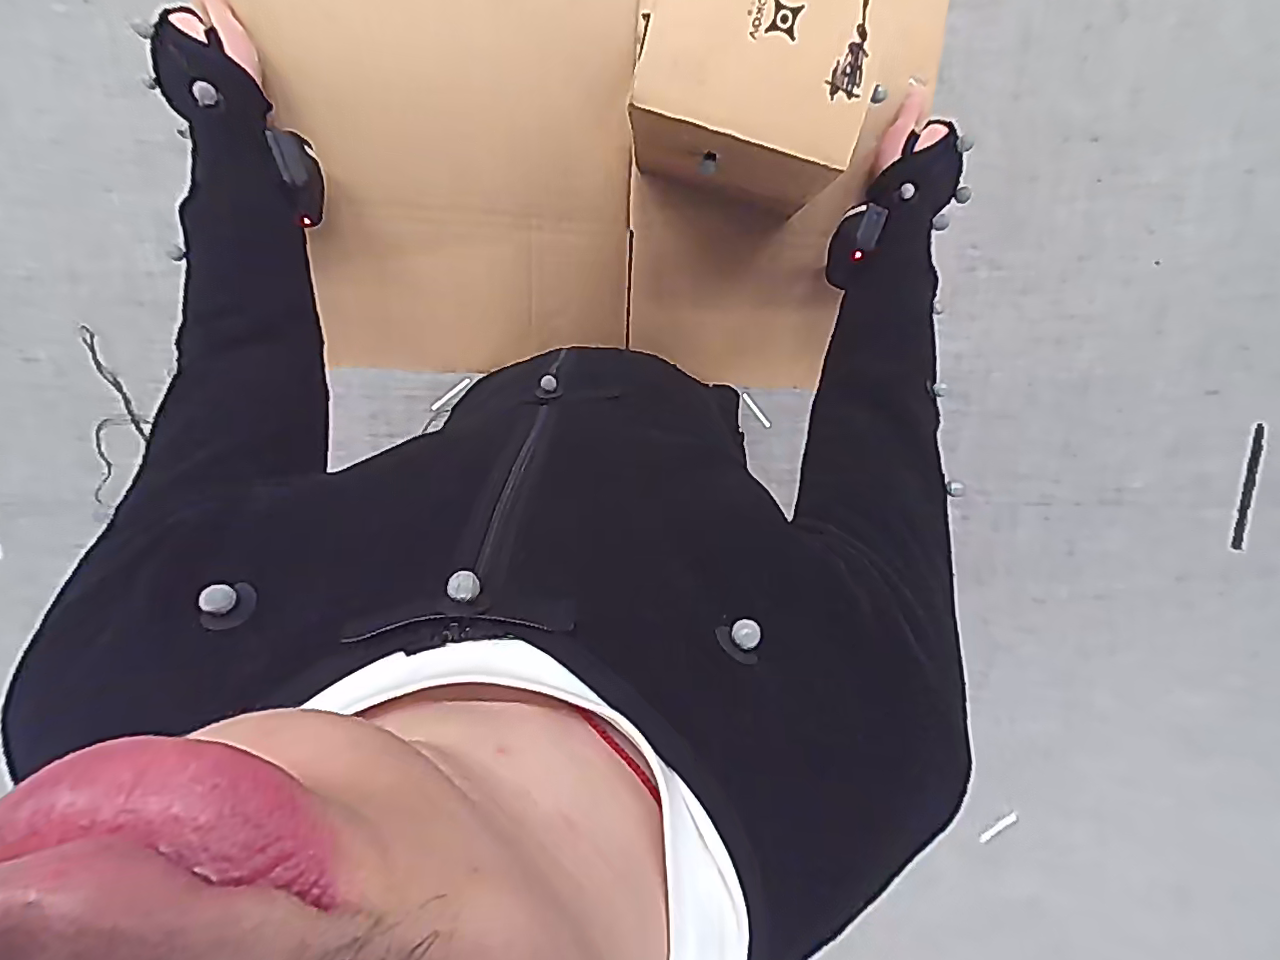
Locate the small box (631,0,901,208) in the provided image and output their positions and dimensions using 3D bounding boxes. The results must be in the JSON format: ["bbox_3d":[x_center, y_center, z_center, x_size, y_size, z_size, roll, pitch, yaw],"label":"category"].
[{"bbox_3d":[0.101,-0.360,0.474,0.179,0.176,0.168,16,105,-1],"label":"small box"}]
